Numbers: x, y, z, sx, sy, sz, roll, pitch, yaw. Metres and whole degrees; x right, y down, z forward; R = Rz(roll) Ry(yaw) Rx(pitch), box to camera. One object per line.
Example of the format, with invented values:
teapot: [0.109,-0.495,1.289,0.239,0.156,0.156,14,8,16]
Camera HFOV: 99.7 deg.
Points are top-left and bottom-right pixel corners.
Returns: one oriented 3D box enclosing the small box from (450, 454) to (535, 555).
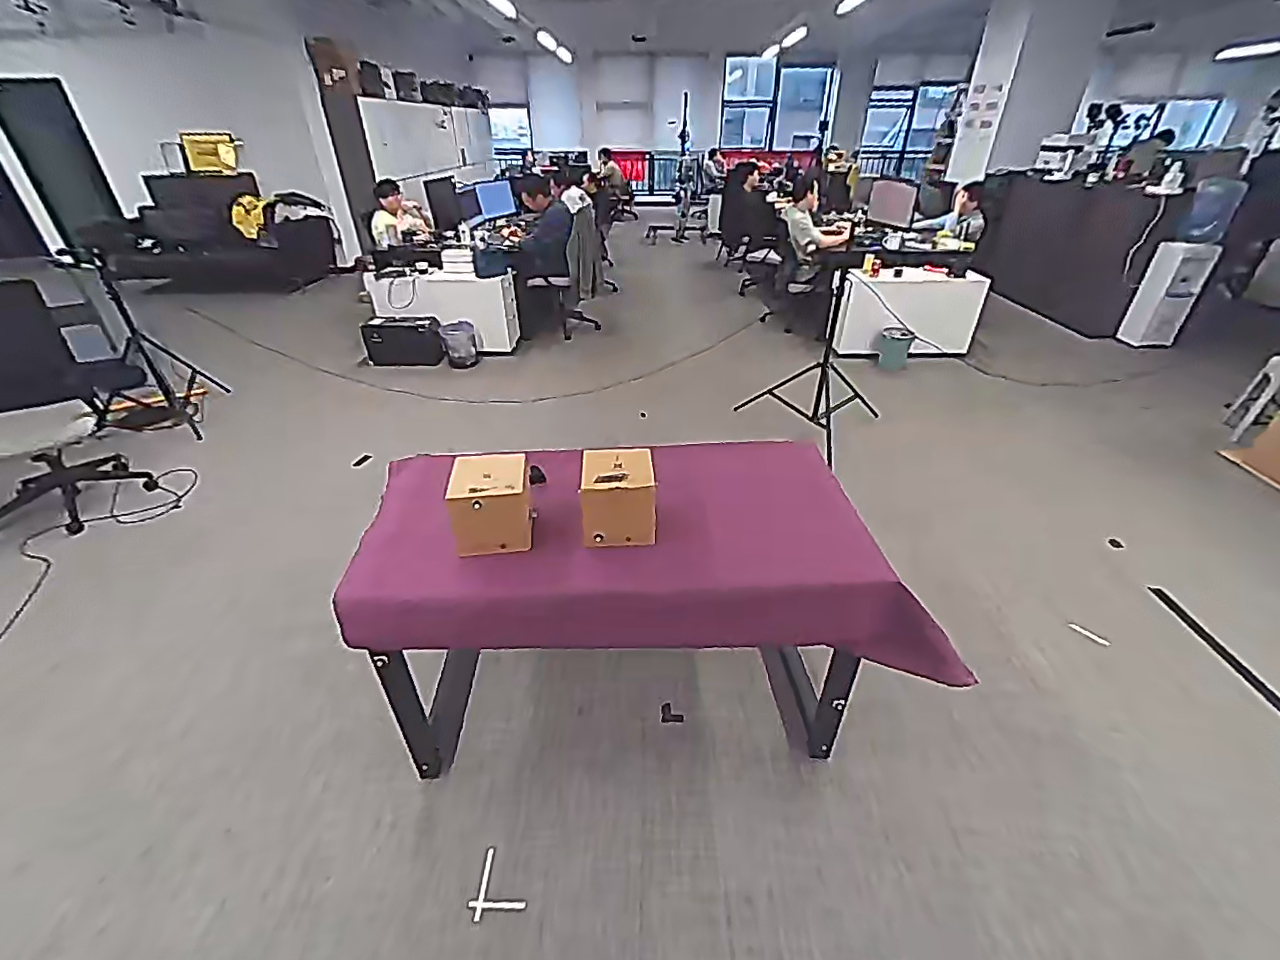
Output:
small box: [-0.341,0.055,1.282,0.168,0.176,0.179,-5,32,-7]

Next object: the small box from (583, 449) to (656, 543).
small box: [-0.047,0.041,1.304,0.168,0.176,0.179,-1,32,-2]
